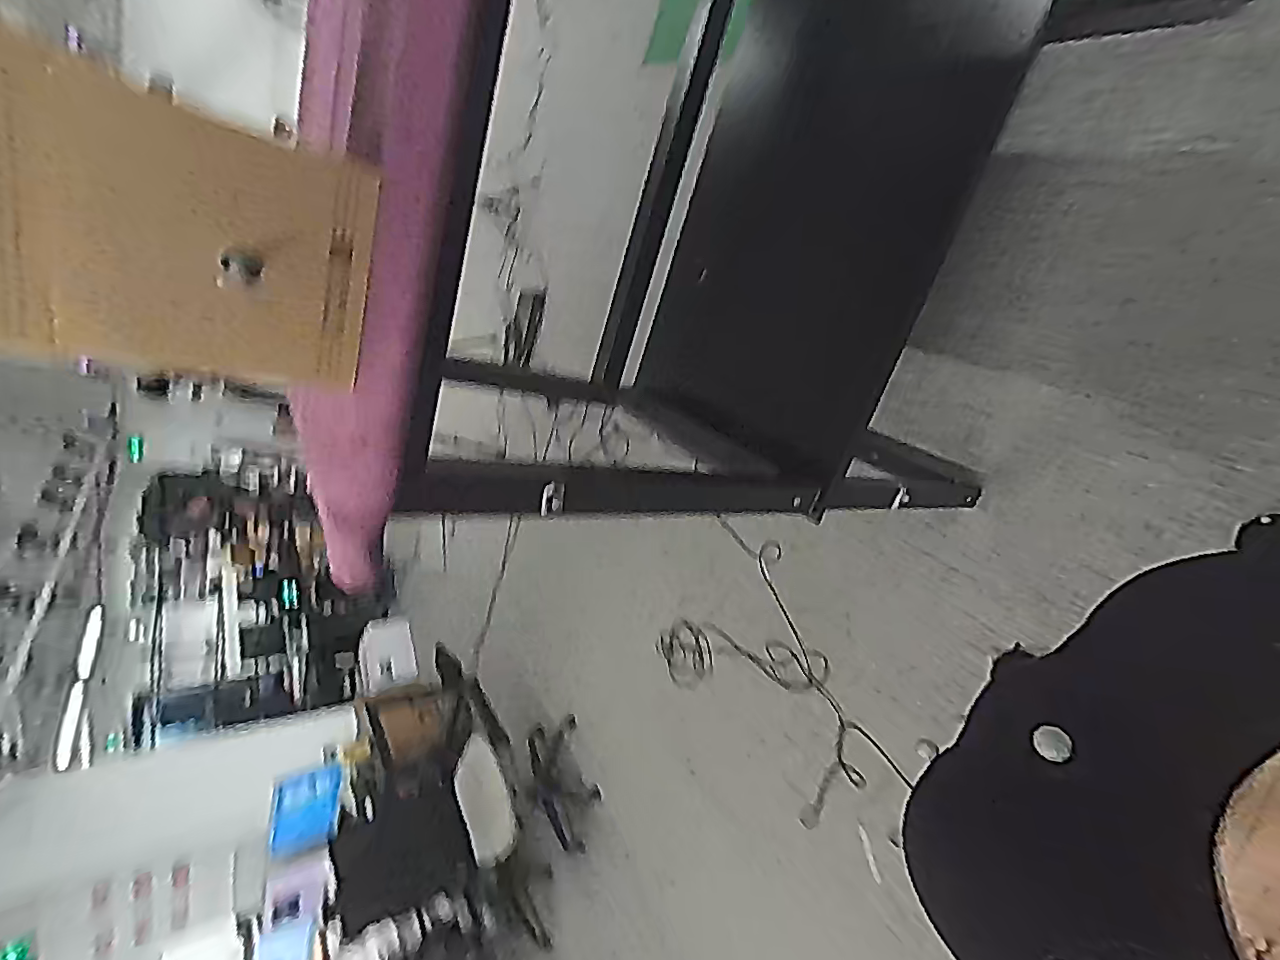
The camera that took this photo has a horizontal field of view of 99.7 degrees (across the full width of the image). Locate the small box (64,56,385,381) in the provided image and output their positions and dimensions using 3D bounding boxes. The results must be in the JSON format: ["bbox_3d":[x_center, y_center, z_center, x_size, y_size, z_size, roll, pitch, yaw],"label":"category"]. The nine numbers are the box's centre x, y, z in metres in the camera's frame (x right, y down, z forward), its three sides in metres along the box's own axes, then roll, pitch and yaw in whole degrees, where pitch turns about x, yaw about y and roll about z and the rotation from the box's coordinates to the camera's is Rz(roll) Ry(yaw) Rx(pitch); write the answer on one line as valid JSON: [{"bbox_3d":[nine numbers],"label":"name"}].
[{"bbox_3d":[-0.314,-0.183,0.423,0.179,0.176,0.168,33,112,46],"label":"small box"}]
